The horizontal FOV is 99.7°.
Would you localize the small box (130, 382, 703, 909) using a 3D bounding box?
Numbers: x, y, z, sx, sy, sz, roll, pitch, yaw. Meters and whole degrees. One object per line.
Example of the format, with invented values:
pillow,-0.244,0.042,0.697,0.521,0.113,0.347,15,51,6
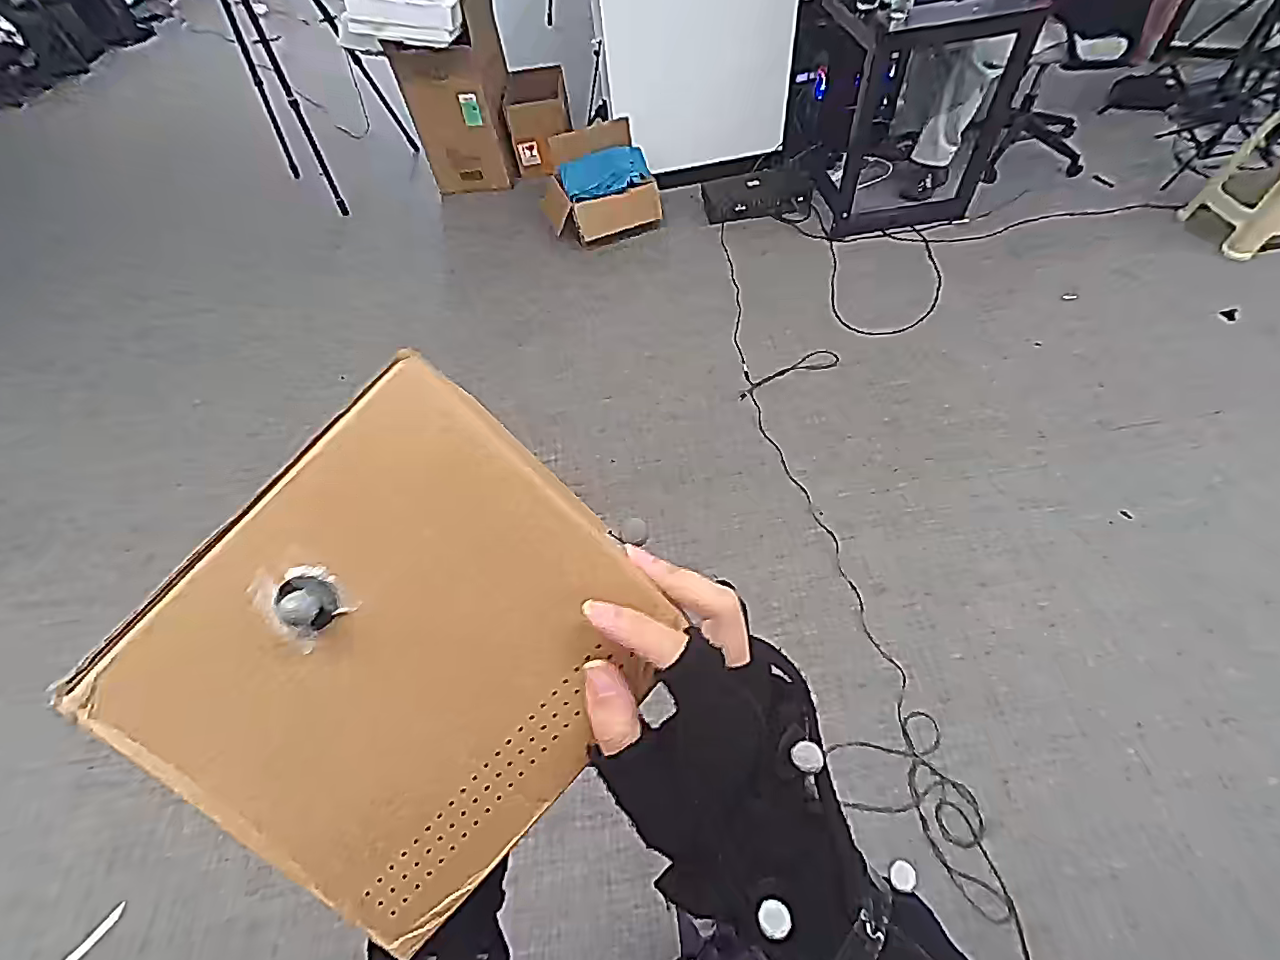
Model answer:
small box,-0.095,0.075,0.305,0.176,0.168,0.179,45,84,-9
